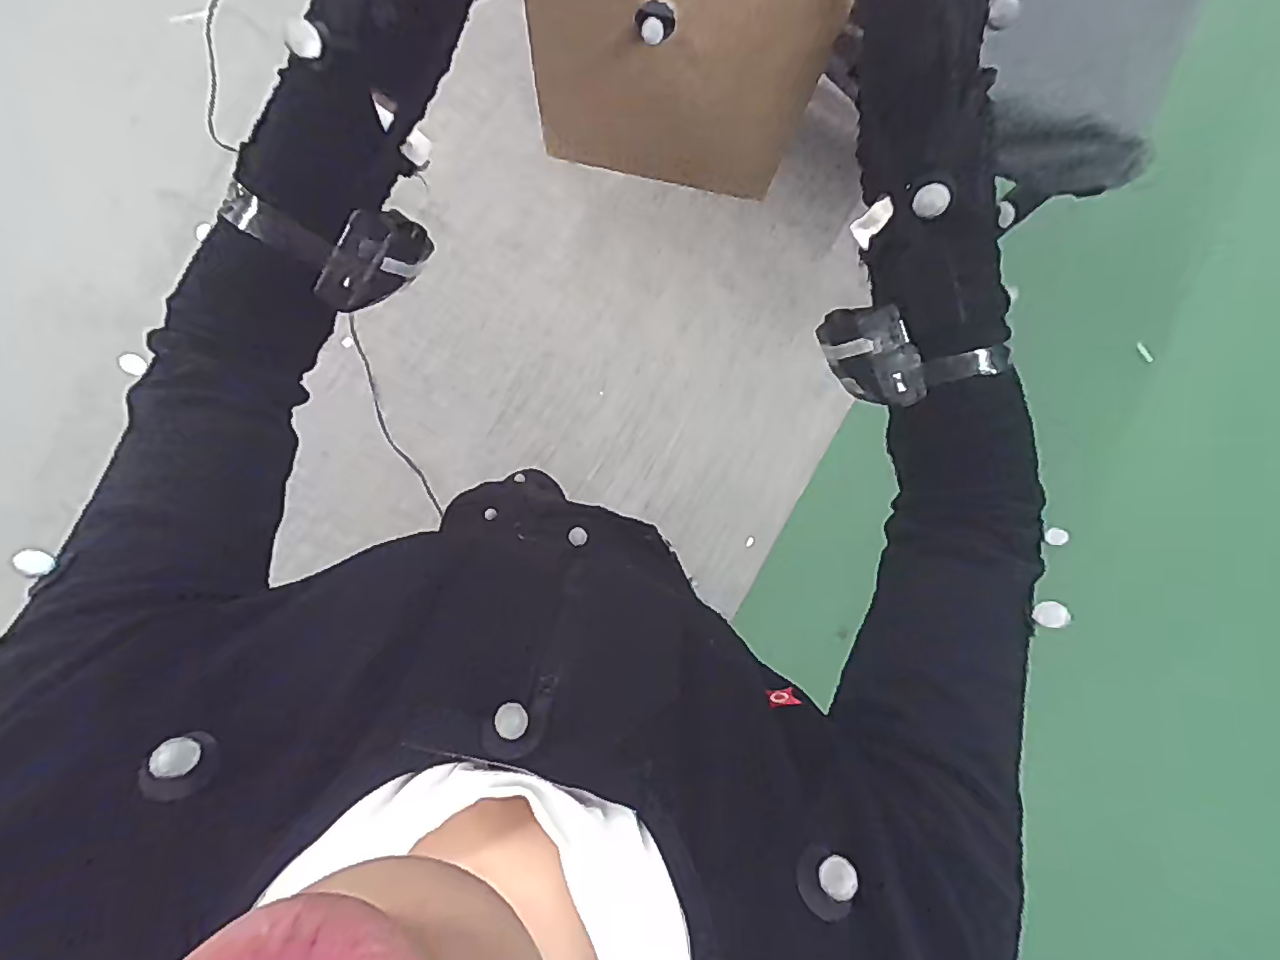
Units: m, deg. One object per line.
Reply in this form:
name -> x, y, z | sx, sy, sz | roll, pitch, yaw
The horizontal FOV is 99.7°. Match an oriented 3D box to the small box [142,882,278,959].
small box -> -0.959, 1.044, 1.196 | 0.179, 0.176, 0.168 | 25, 82, 2

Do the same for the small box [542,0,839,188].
small box -> 0.033, -0.329, 0.358 | 0.179, 0.176, 0.168 | 11, 80, -2
